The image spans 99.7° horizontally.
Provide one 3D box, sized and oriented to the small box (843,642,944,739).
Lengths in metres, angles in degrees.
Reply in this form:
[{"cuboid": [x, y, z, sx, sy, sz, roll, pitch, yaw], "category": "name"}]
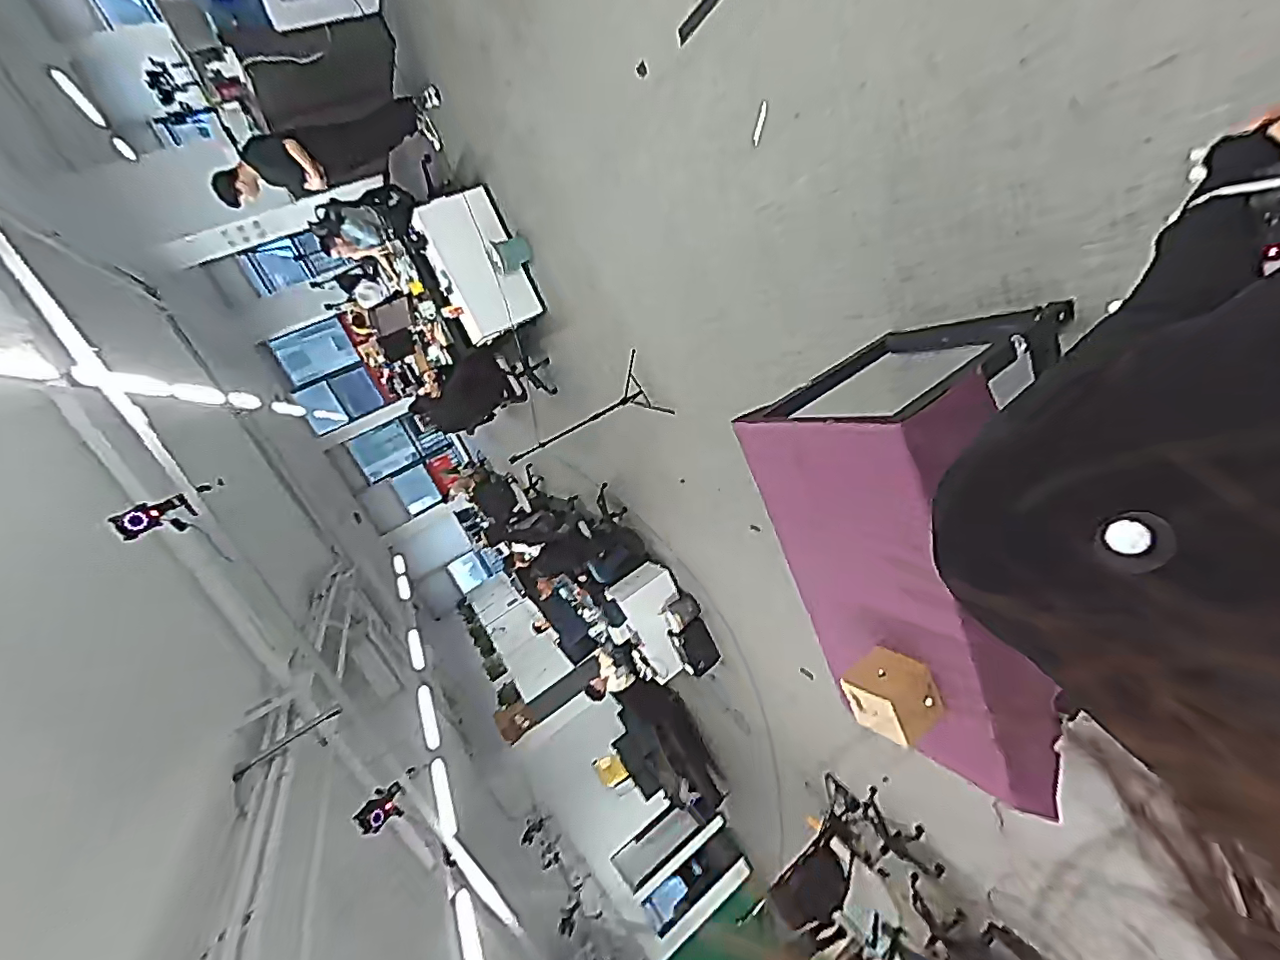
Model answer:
[{"cuboid": [0.729, 0.595, 1.555, 0.168, 0.176, 0.179, 63, 159, -14], "category": "small box"}]
